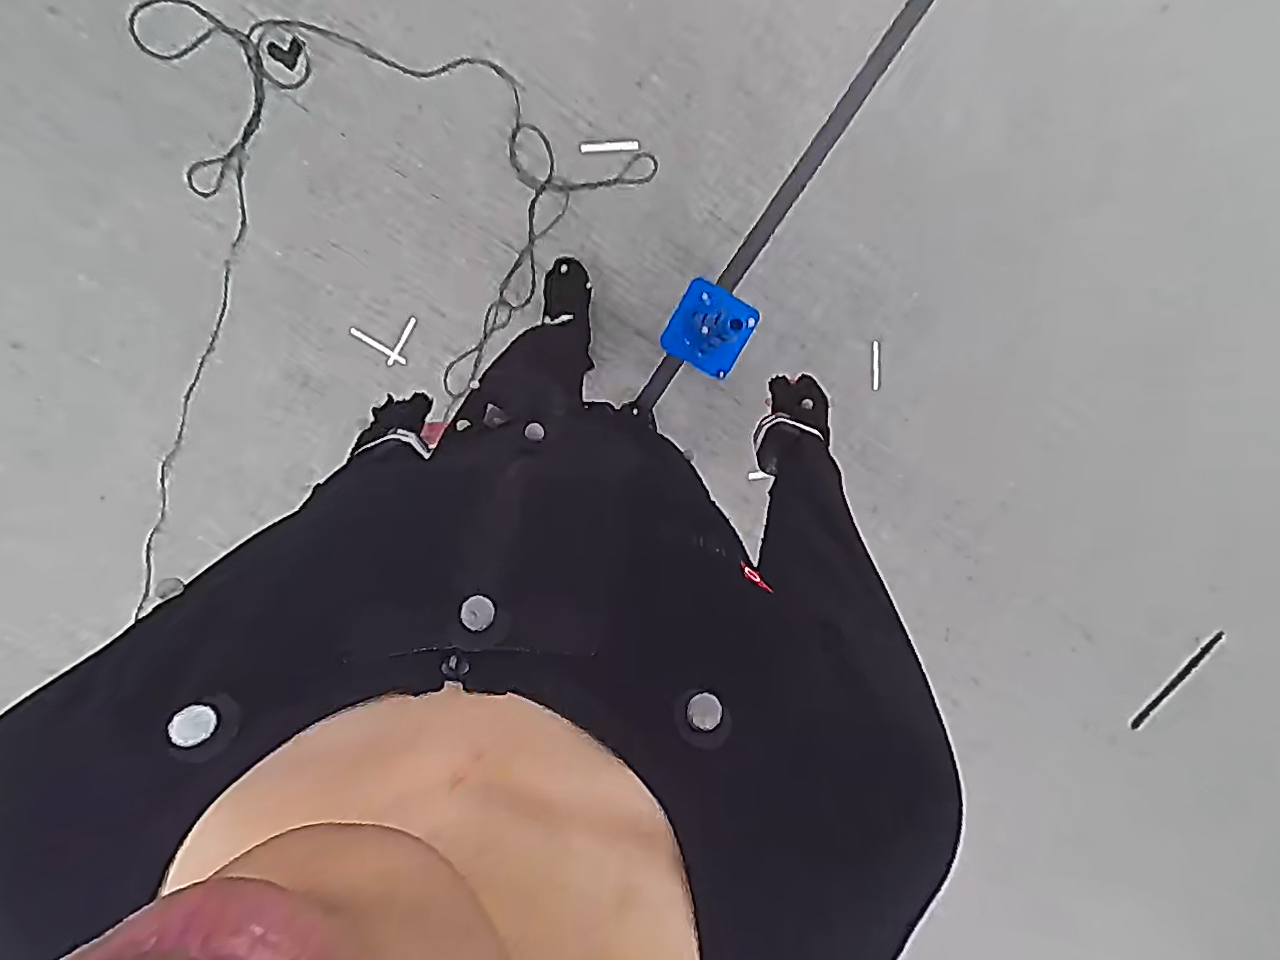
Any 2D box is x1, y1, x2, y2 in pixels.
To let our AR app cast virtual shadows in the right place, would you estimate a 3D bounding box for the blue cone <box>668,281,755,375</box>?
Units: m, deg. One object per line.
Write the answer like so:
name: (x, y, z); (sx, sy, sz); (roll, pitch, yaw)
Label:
blue cone: (0.188, -0.348, 1.224); (0.192, 0.380, 0.193); (29, 102, -9)
